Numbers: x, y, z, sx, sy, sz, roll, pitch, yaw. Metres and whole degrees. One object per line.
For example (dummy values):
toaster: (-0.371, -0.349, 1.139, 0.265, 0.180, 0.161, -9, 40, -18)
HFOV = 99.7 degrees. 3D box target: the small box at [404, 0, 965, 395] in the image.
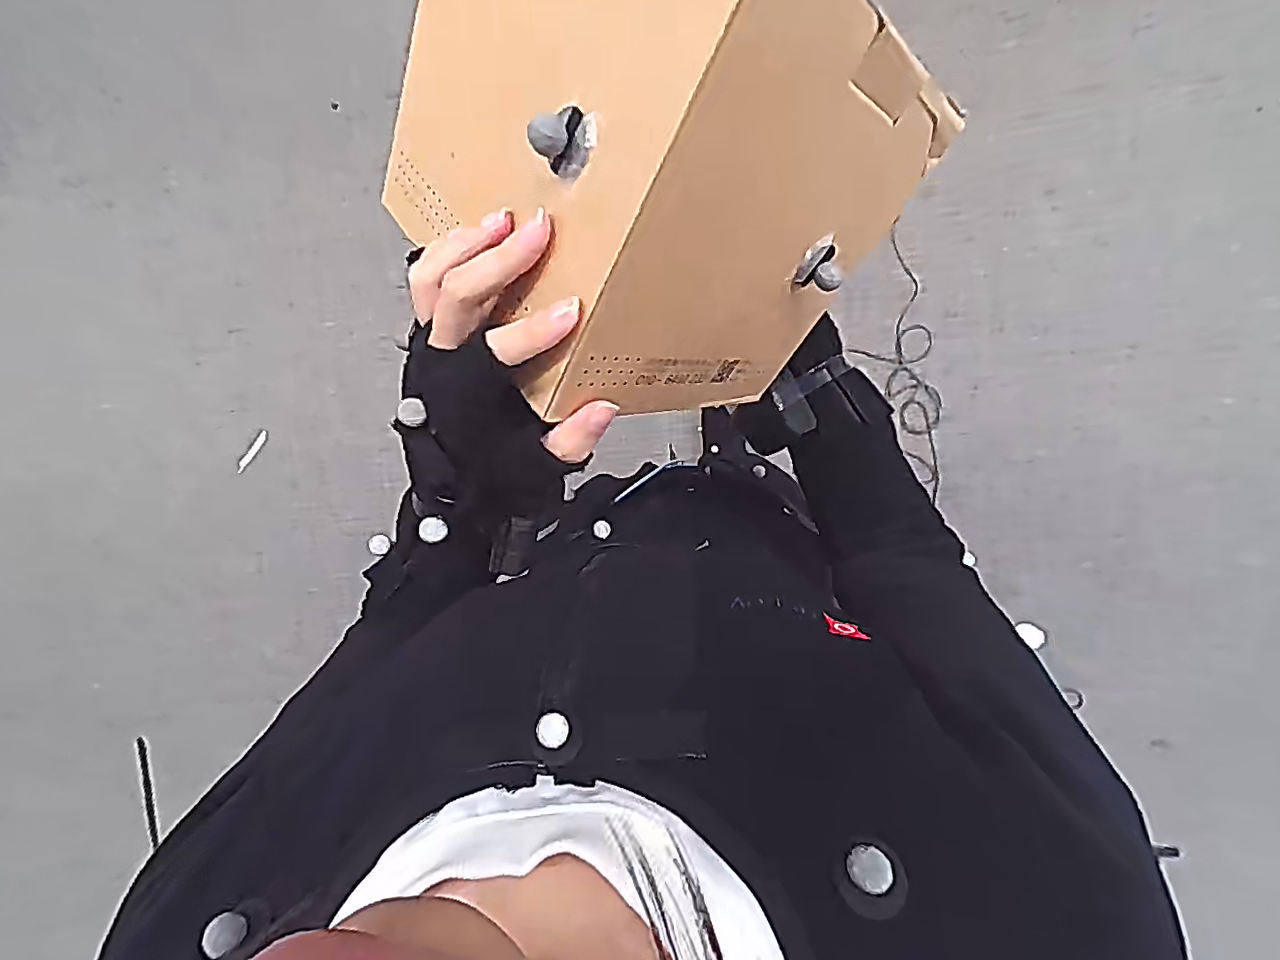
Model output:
small box: (0.006, -0.155, 0.269, 0.179, 0.168, 0.176, 52, 130, 24)
